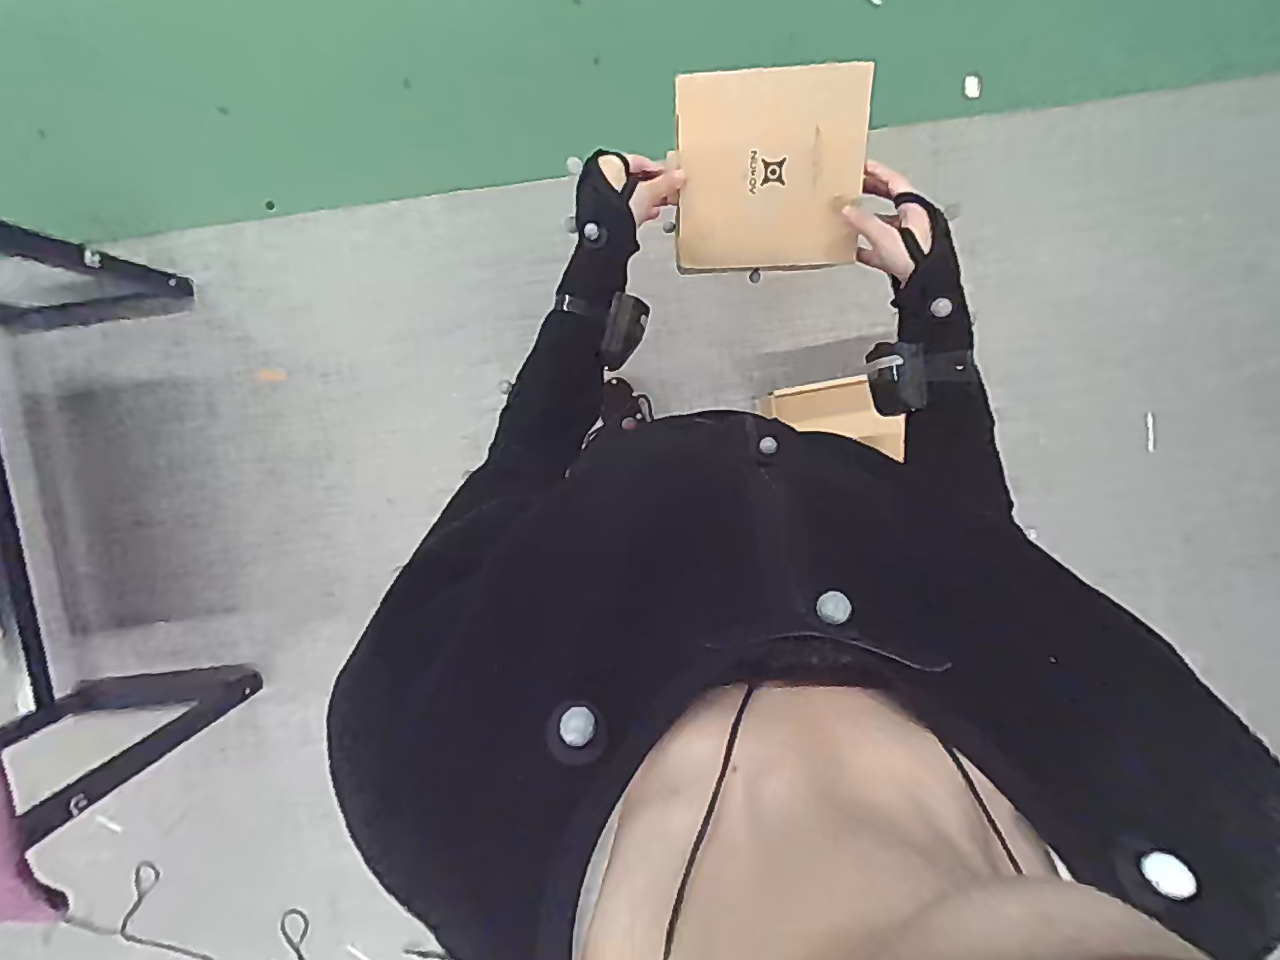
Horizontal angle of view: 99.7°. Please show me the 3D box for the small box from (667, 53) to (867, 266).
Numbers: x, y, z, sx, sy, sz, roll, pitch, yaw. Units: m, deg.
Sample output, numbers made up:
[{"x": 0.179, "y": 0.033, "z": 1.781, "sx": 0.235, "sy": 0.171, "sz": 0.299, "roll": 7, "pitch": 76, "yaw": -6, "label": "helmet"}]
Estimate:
[{"x": 0.120, "y": -0.322, "z": 0.579, "sx": 0.179, "sy": 0.176, "sz": 0.168, "roll": 0, "pitch": 110, "yaw": 5, "label": "small box"}]
